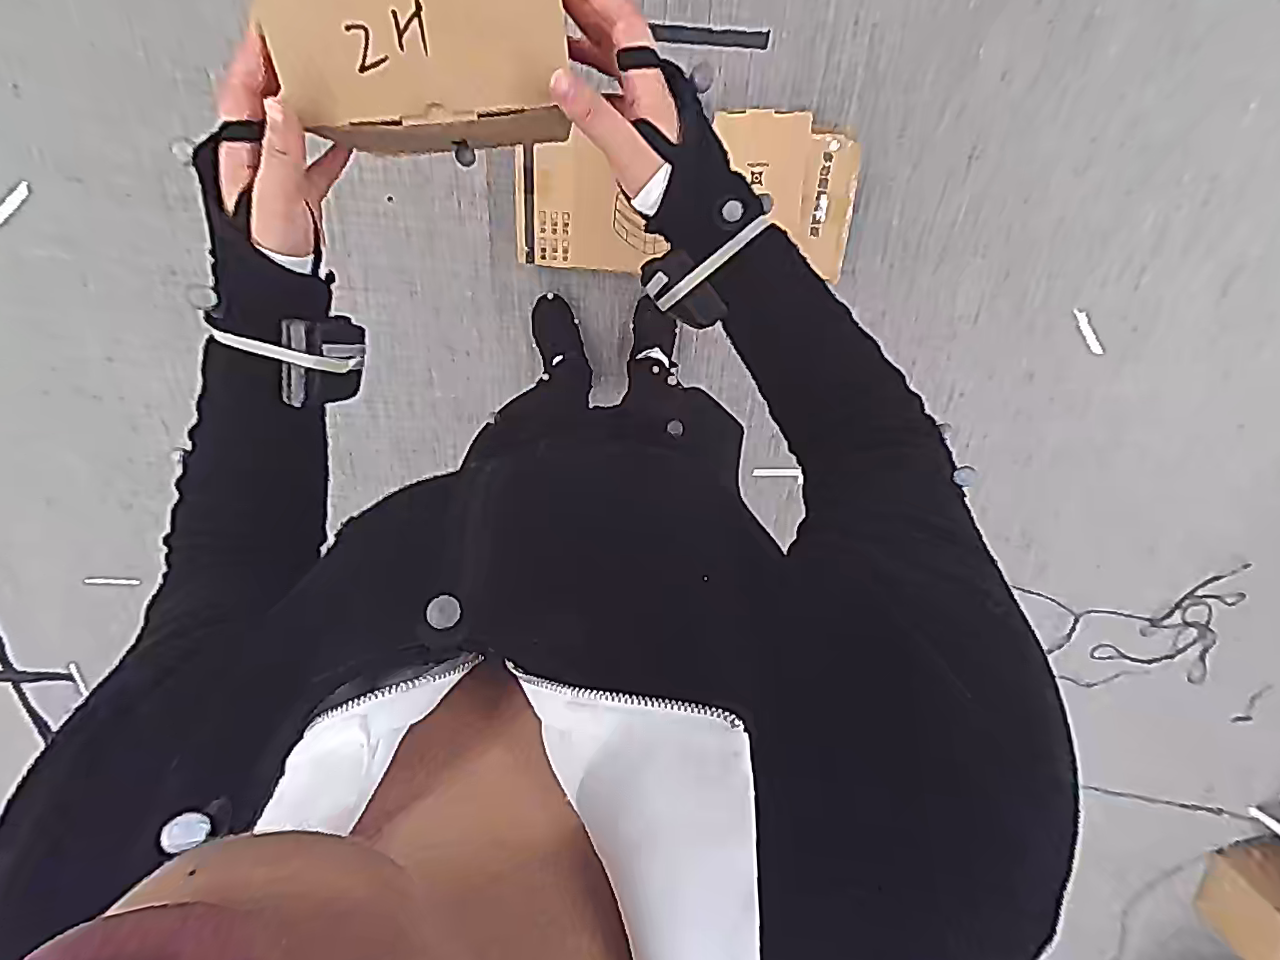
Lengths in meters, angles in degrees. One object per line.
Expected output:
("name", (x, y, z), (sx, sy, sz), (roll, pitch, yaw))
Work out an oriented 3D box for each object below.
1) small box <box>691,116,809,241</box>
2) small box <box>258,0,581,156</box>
("small box", (0.182, -0.517, 0.948), (0.168, 0.176, 0.179), (-2, 114, -1))
("small box", (-0.134, -0.322, 0.349), (0.168, 0.176, 0.179), (-8, 118, -6))
